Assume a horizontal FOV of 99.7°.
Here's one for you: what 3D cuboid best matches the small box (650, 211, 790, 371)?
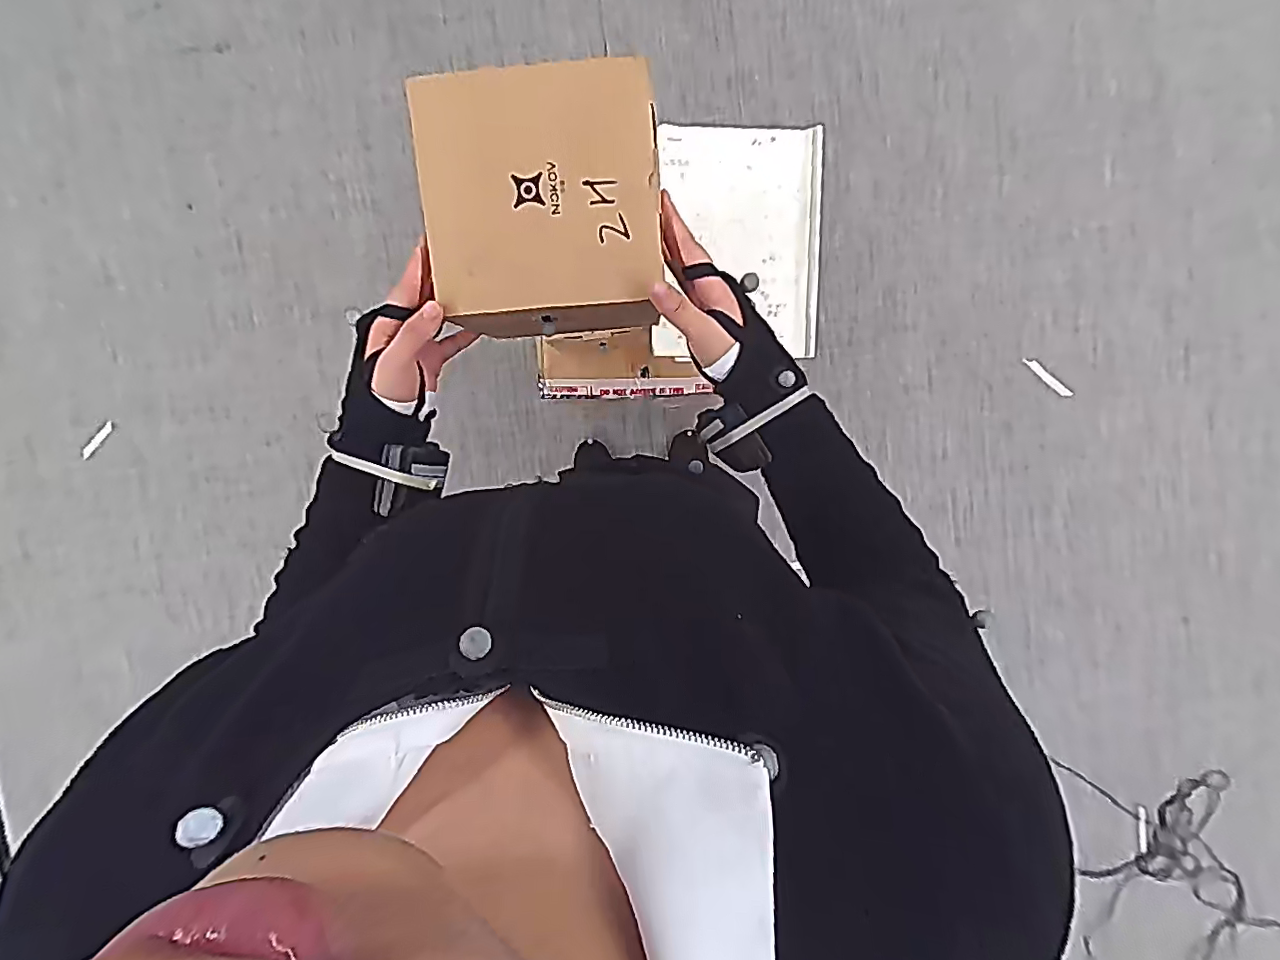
[{"bbox_3d":[0.100,-0.250,0.753,0.168,0.176,0.179,1,96,-2],"label":"small box"}]

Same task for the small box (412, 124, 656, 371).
[{"bbox_3d":[-0.077,-0.188,0.487,0.179,0.176,0.168,-4,100,0],"label":"small box"}]
